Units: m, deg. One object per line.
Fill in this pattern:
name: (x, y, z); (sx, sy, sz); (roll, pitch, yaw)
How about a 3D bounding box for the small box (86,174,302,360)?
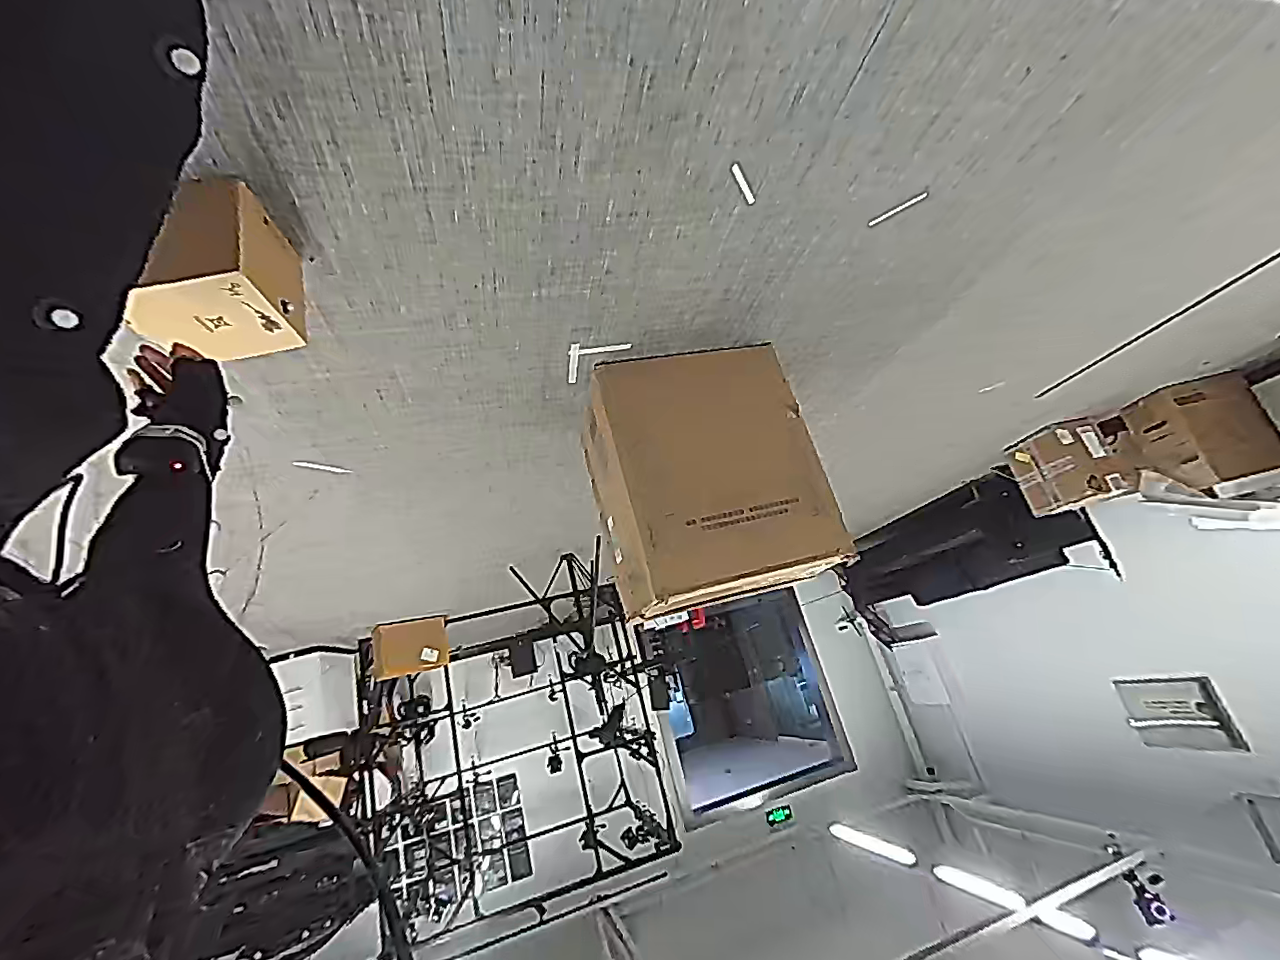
small box: (-0.609, -0.297, 0.763); (0.179, 0.176, 0.168); (-12, 161, -8)
